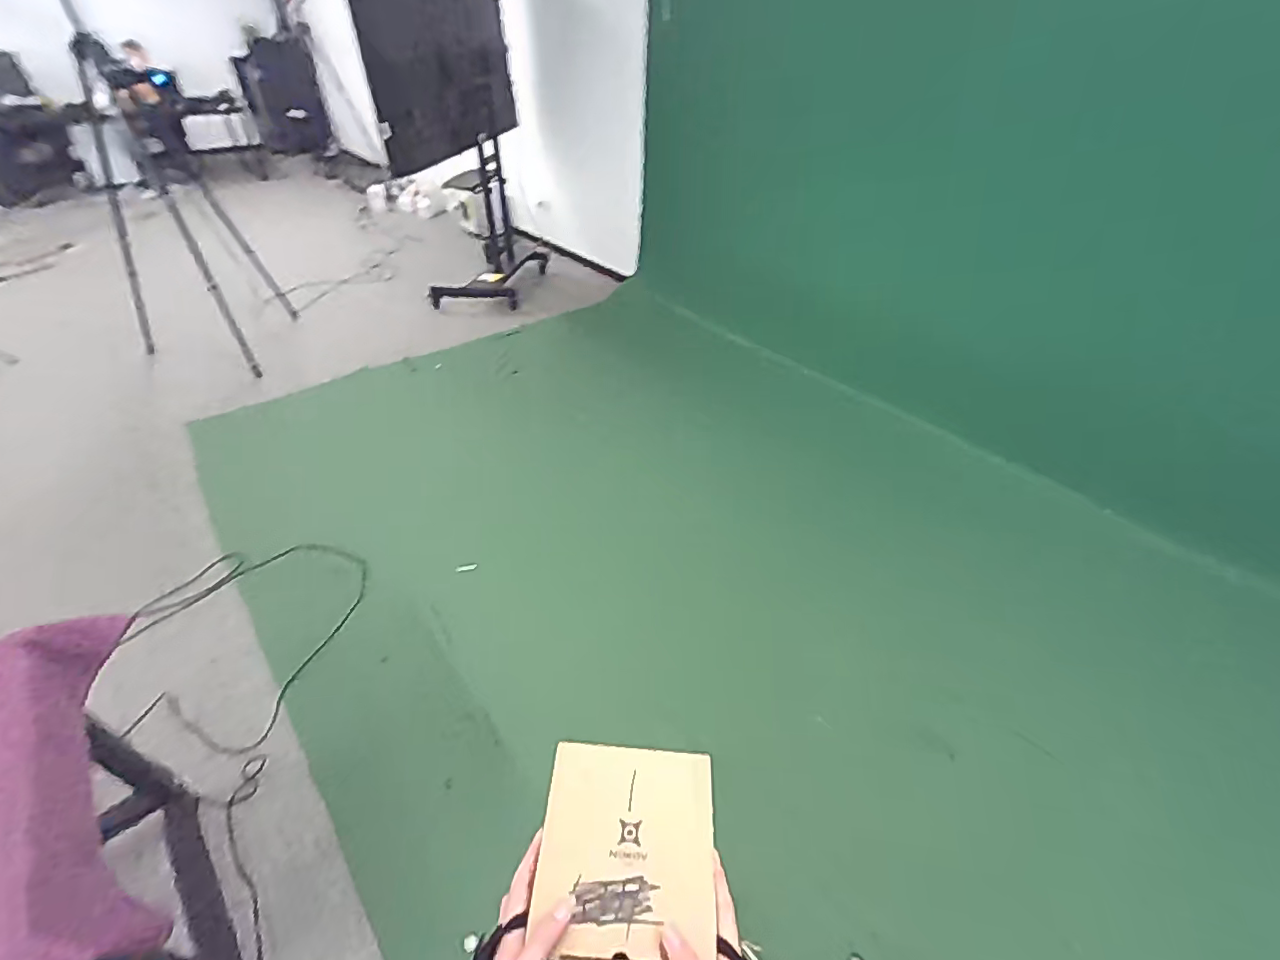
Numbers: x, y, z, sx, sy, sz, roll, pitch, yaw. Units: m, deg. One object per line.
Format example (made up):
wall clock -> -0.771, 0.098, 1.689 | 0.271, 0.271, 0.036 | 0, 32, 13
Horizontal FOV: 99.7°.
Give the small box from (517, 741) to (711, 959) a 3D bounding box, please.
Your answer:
small box -> -0.021, 0.399, 0.558 | 0.168, 0.176, 0.179 | 5, 41, -1
